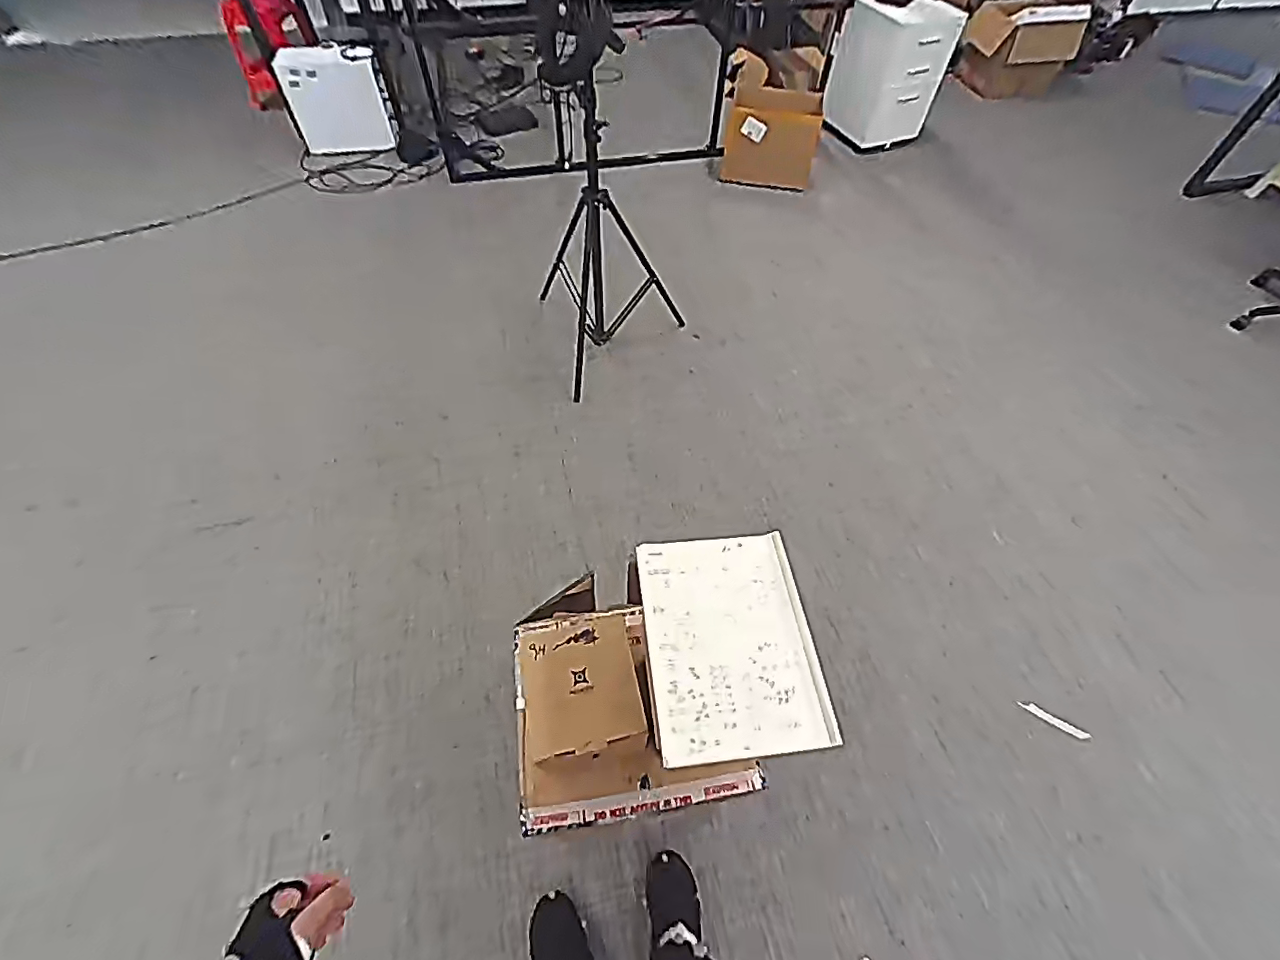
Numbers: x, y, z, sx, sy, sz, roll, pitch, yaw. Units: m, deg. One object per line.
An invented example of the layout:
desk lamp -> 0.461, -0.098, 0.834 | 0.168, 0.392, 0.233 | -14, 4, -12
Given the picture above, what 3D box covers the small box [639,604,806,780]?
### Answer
small box -> 0.092, 0.282, 0.713 | 0.168, 0.176, 0.179 | -4, 57, -7
